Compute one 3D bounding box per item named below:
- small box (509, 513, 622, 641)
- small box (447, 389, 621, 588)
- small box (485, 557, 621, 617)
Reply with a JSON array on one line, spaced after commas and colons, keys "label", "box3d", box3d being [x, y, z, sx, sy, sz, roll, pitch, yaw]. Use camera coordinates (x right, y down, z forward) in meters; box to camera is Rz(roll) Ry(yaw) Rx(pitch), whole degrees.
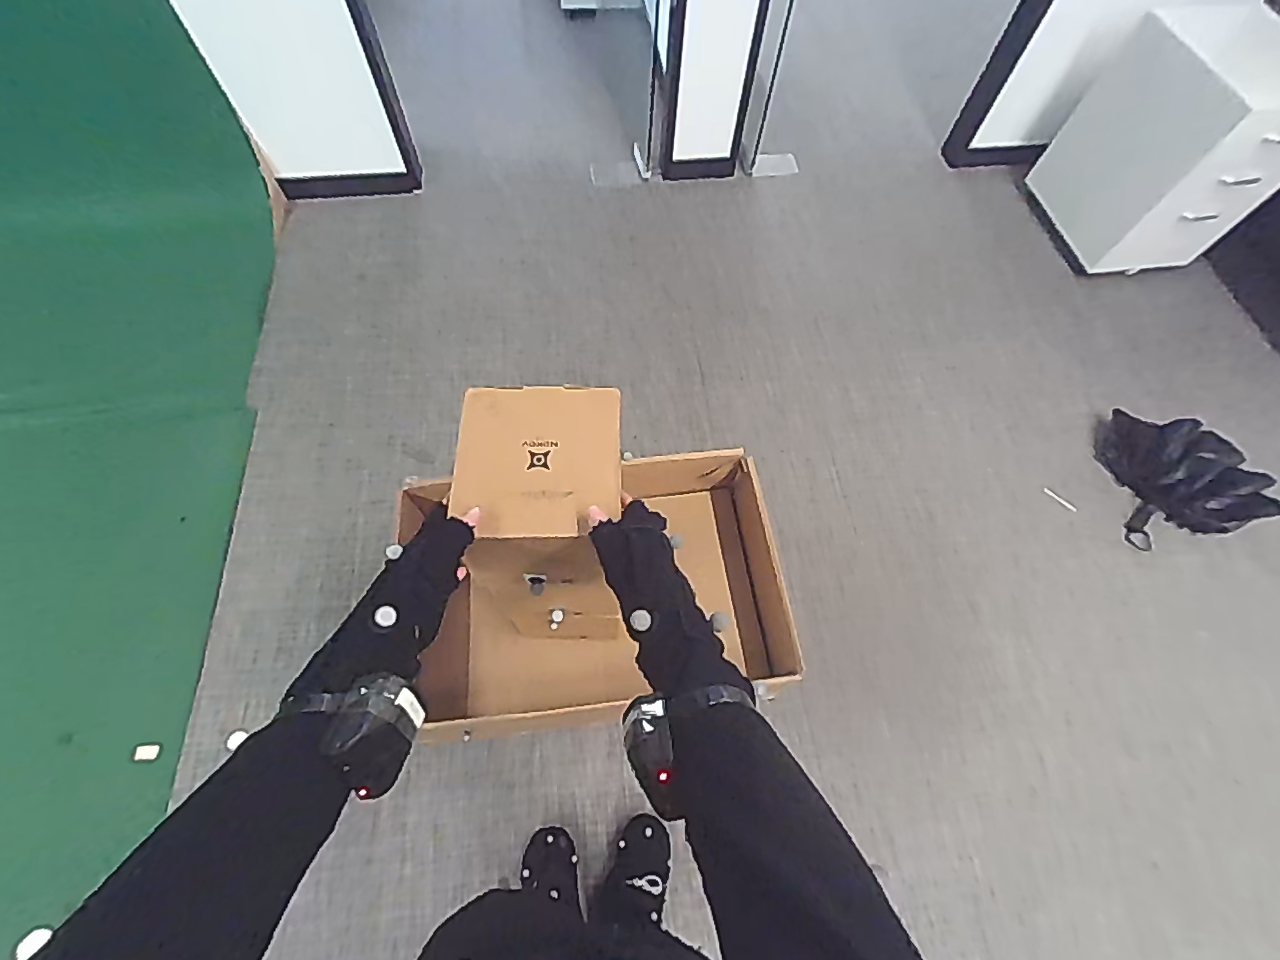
[{"label": "small box", "box3d": [-0.116, 0.162, 0.909, 0.168, 0.176, 0.179, 1, 62, -2]}, {"label": "small box", "box3d": [-0.107, 0.015, 0.618, 0.168, 0.176, 0.179, -1, 63, -3]}, {"label": "small box", "box3d": [-0.113, 0.087, 0.763, 0.168, 0.176, 0.179, 0, 63, -4]}]
